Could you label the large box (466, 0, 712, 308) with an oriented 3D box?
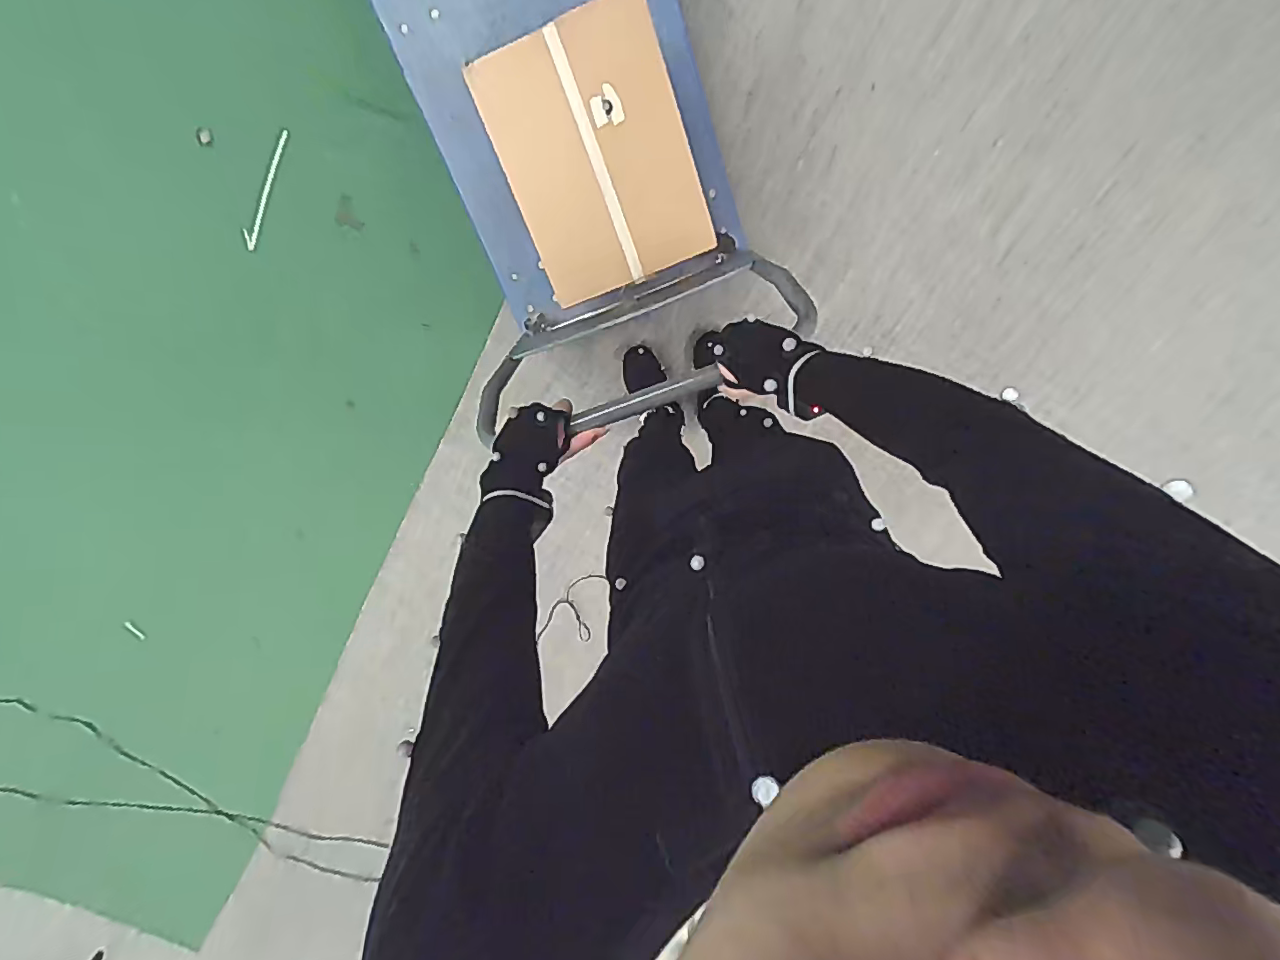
[{"bbox_3d":[-0.073,-0.607,1.082,0.320,0.320,0.408,-19,112,9],"label":"large box"}]
